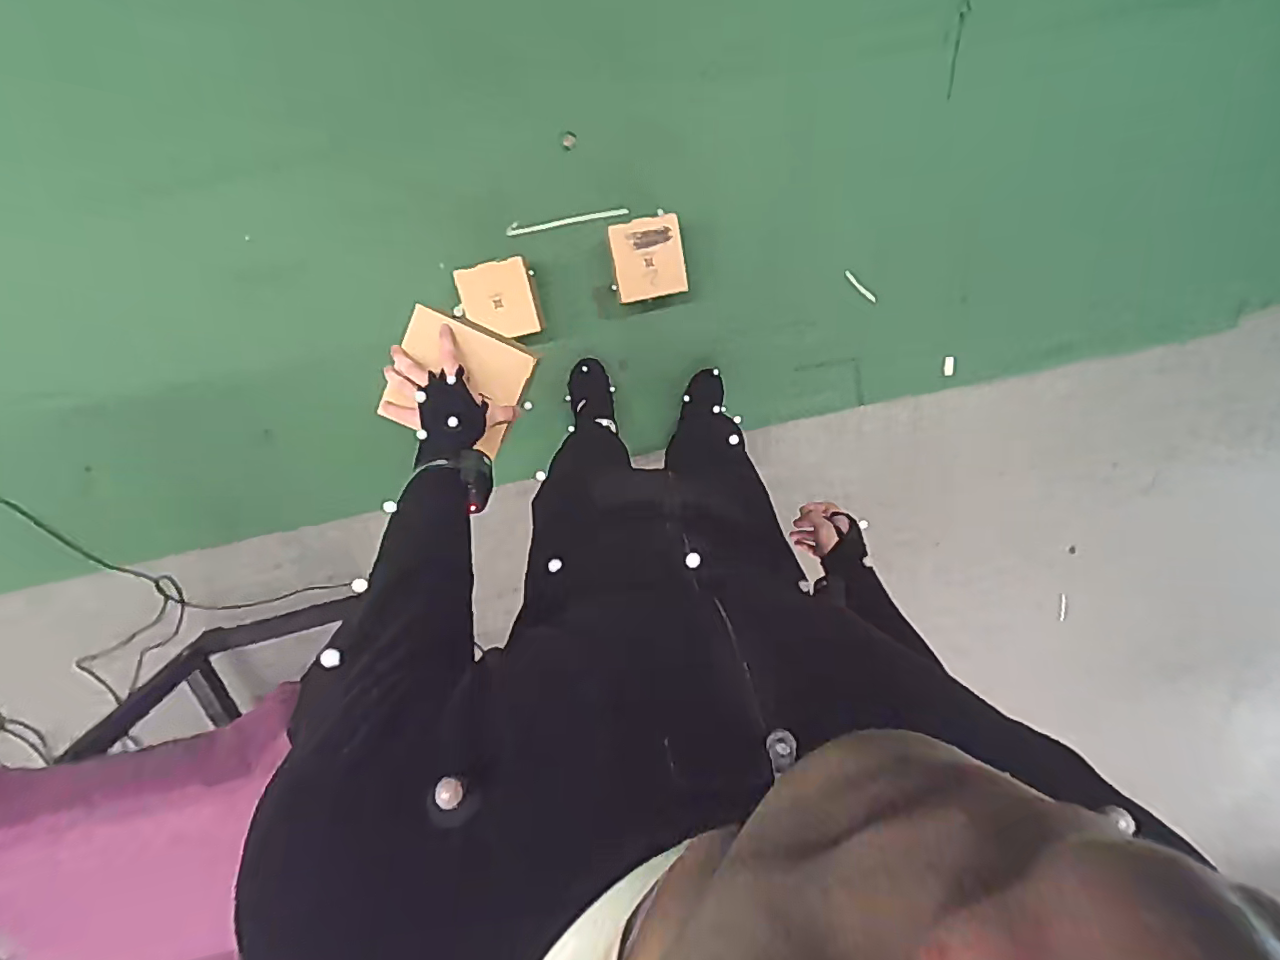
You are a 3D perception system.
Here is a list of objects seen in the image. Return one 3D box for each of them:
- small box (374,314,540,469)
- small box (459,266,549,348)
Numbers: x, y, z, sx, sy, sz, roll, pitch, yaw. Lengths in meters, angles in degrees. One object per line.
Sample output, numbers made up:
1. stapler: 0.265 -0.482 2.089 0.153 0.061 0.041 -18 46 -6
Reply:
1. small box: -0.269 -0.138 0.836 0.179 0.176 0.168 24 101 -11
2. small box: -0.333 -0.429 1.365 0.168 0.176 0.179 -13 107 0
